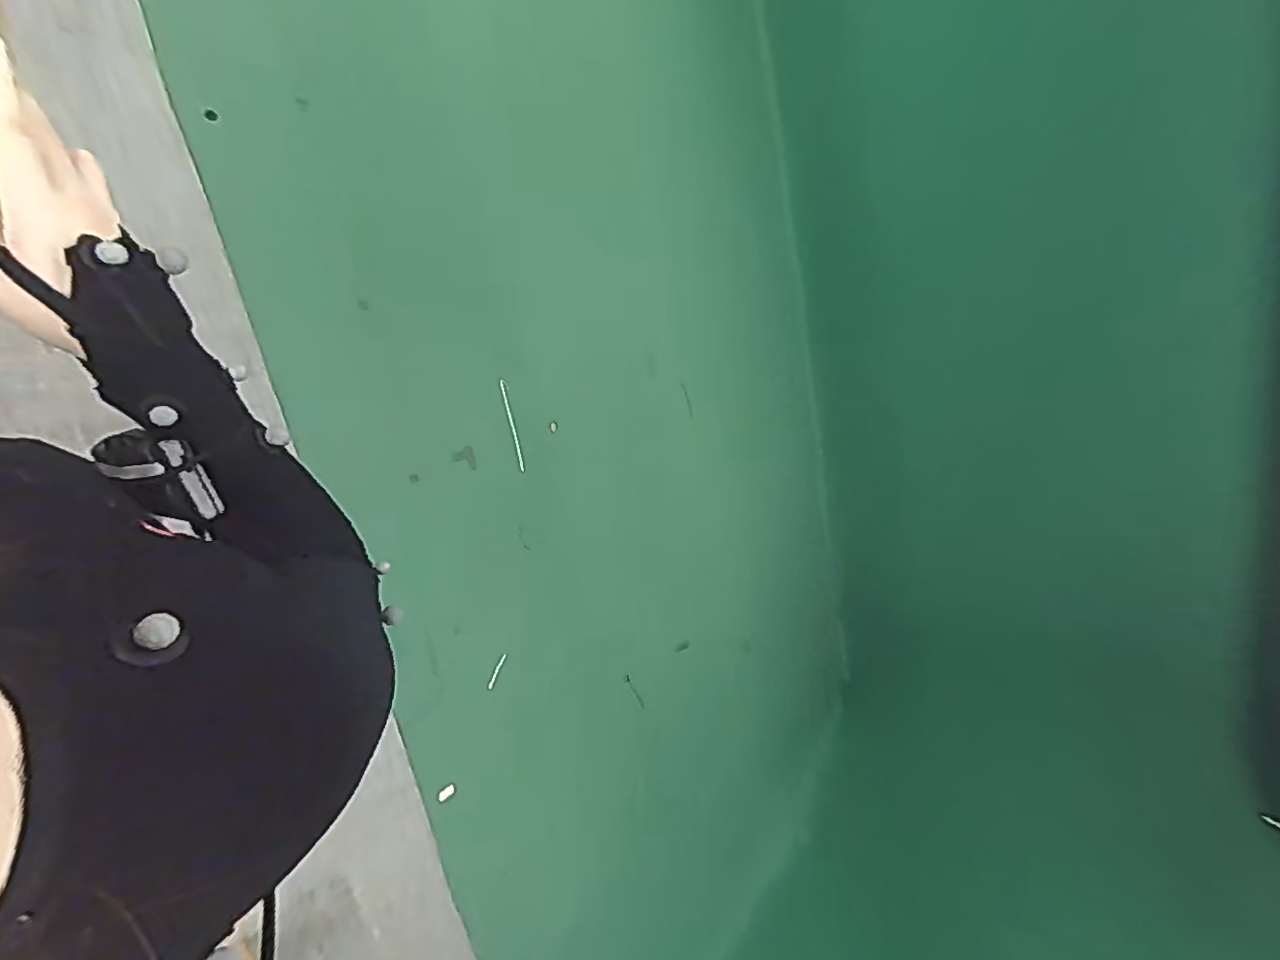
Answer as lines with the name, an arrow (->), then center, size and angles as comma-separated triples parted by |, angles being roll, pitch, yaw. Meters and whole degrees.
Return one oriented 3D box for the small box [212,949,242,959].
small box -> -0.913, 1.179, 1.163 | 0.168, 0.176, 0.179 | -31, 113, -45
